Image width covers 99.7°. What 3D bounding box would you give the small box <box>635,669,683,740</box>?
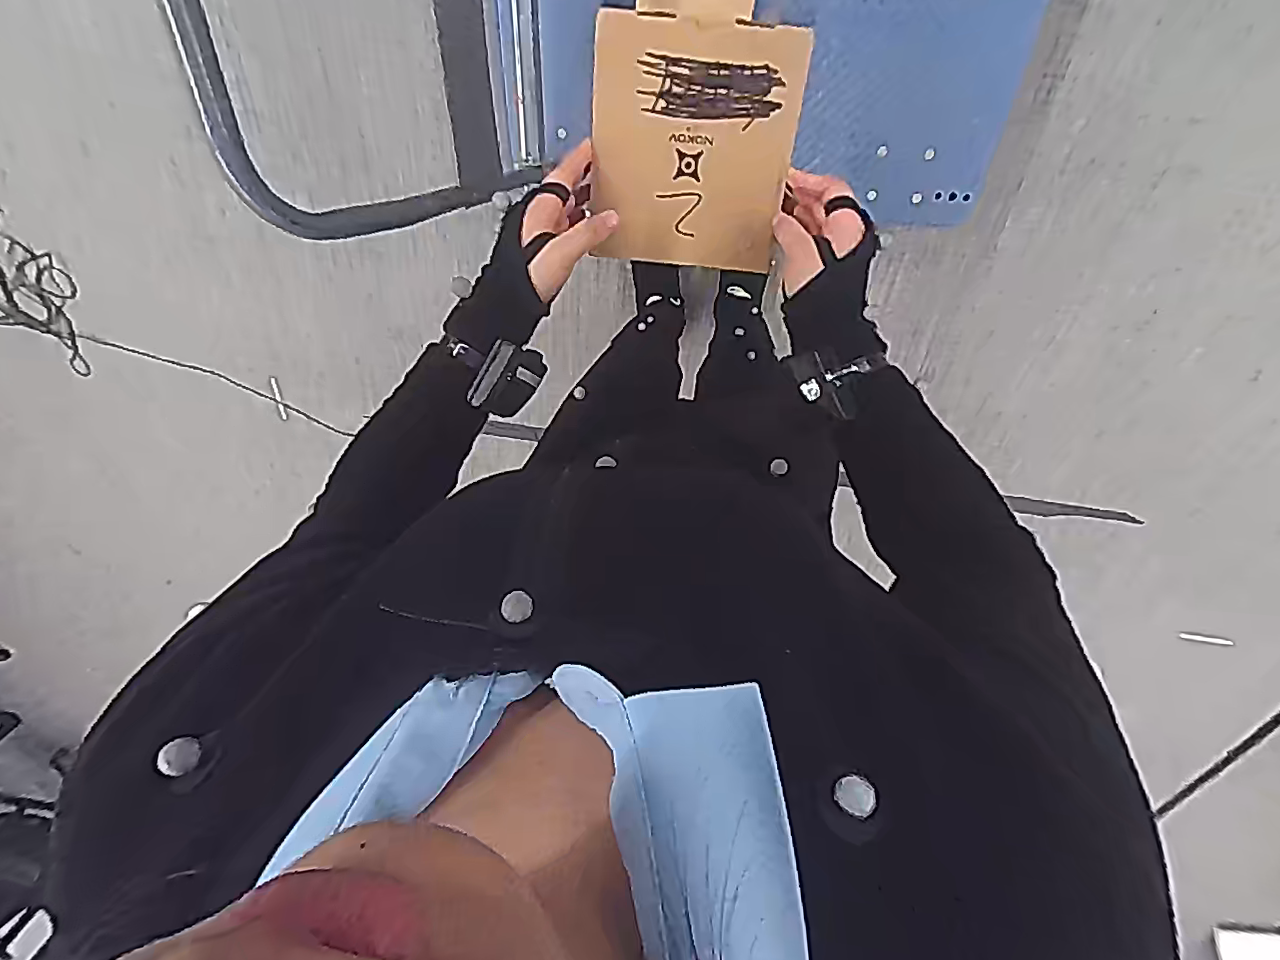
[{"bbox_3d":[0.075,0.858,2.072,0.168,0.176,0.179,6,123,4],"label":"small box"}]

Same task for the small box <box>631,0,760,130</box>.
[{"bbox_3d":[0.086,-0.662,0.846,0.168,0.176,0.179,10,124,3],"label":"small box"}]
